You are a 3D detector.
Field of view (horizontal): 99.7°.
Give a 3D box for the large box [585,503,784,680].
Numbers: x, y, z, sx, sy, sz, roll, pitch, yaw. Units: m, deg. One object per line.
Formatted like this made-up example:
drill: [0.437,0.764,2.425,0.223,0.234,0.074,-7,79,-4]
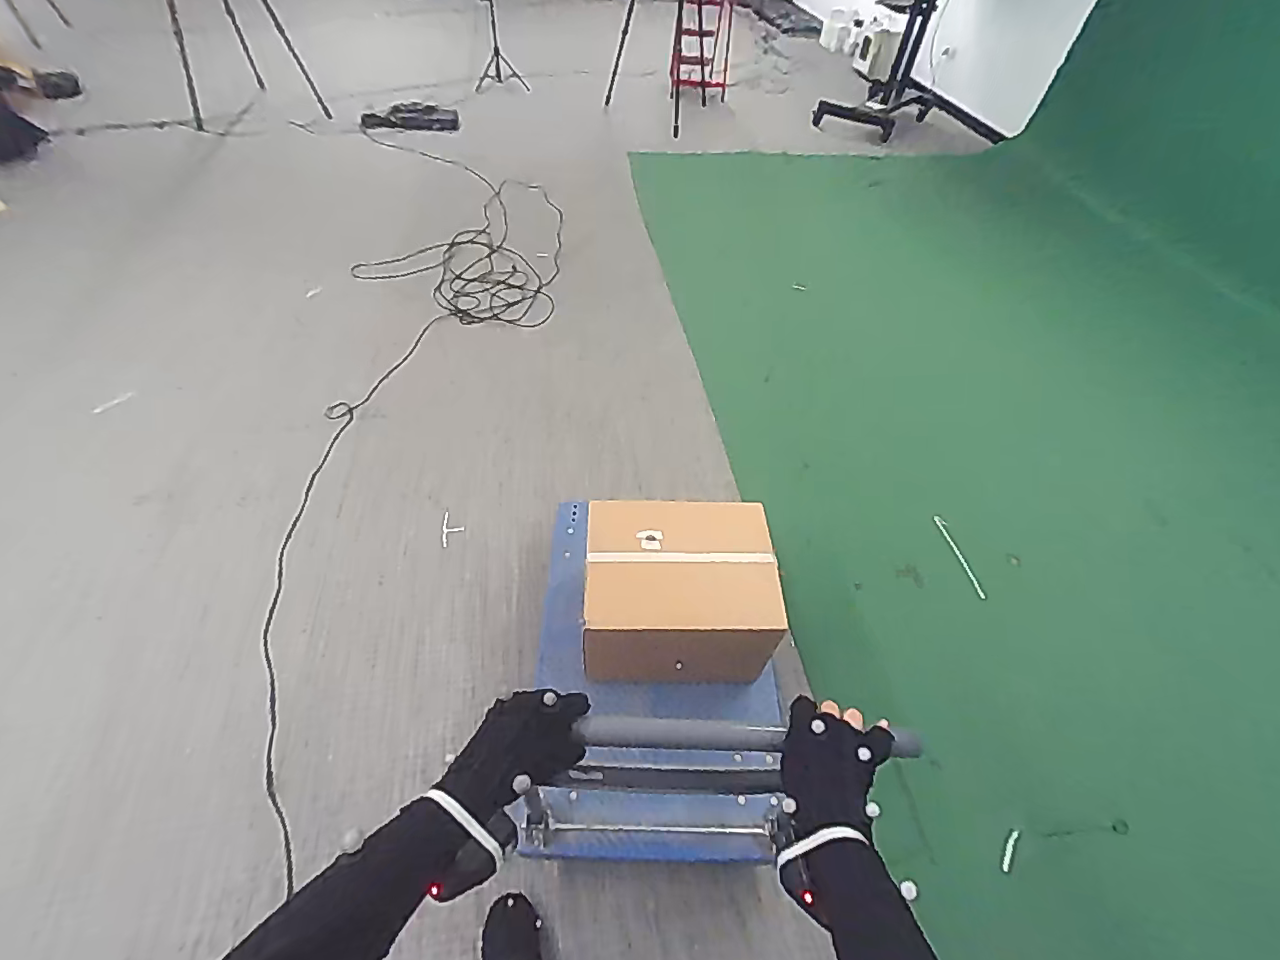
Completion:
large box: [0.081,0.268,1.278,0.408,0.320,0.320,0,50,-3]
